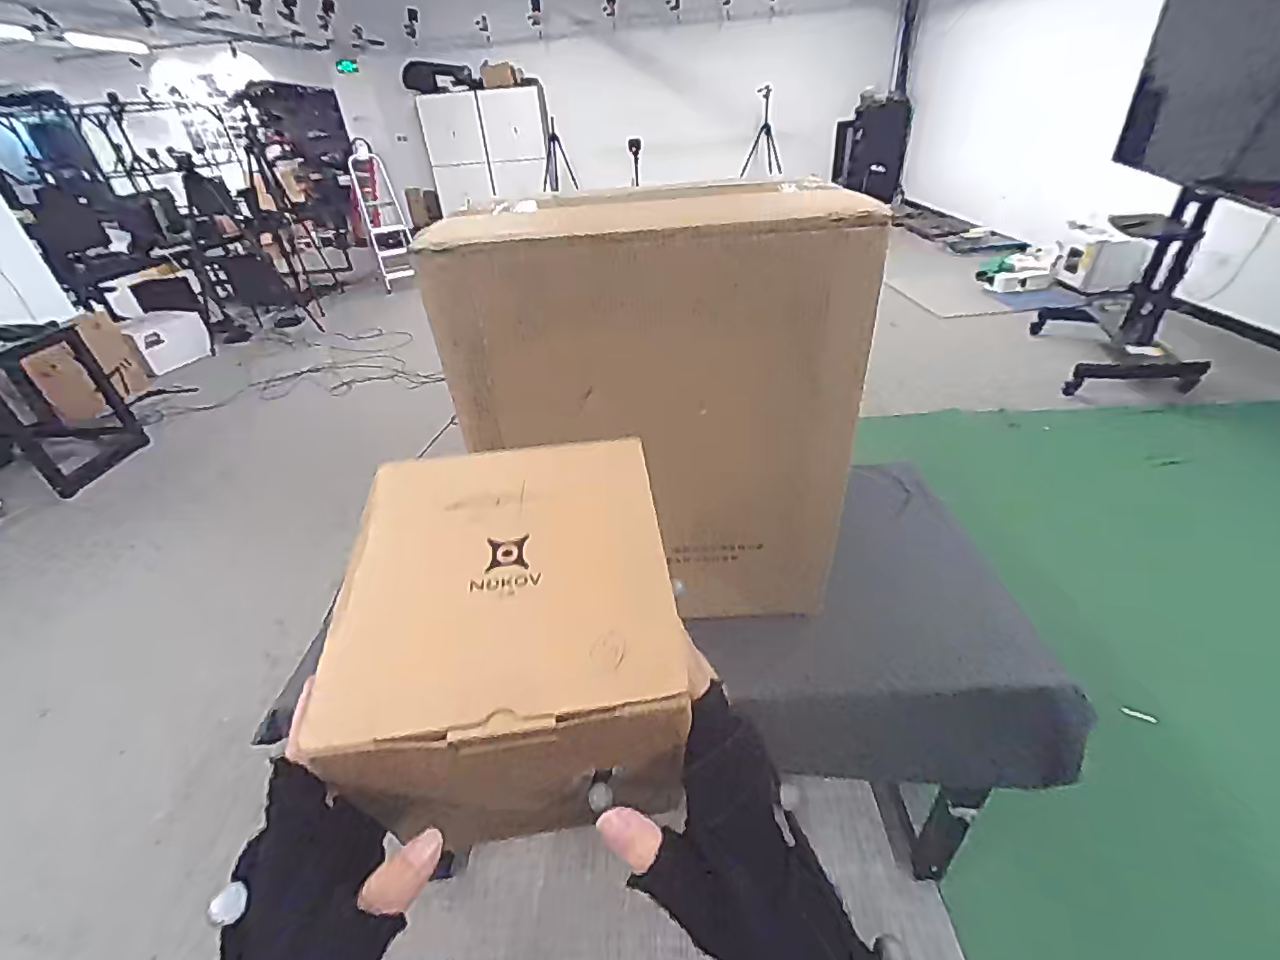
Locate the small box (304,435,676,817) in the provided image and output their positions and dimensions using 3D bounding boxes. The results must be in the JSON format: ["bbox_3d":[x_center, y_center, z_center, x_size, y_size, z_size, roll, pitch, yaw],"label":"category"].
[{"bbox_3d":[-0.072,0.095,0.348,0.168,0.176,0.179,-5,45,-6],"label":"small box"}]
